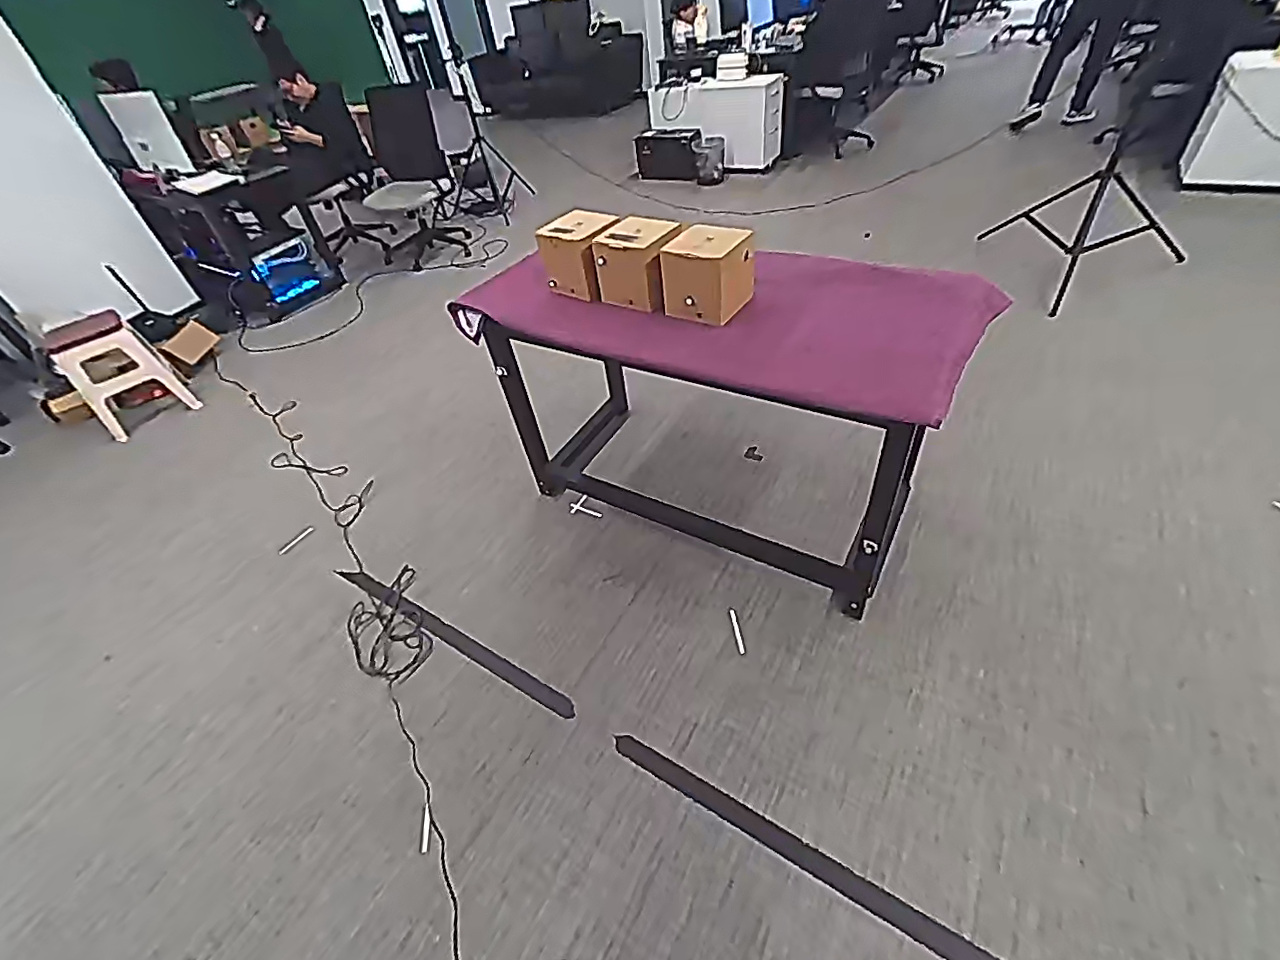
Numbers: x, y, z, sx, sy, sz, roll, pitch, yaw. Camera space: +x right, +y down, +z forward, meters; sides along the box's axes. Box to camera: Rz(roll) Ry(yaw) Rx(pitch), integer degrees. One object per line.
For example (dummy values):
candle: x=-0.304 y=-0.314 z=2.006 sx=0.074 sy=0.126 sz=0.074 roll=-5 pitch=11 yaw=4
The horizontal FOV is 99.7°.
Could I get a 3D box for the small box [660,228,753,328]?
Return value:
small box: x=0.168 y=-0.504 z=1.344 sx=0.168 sy=0.176 sz=0.179 roll=21 pitch=51 yaw=29
